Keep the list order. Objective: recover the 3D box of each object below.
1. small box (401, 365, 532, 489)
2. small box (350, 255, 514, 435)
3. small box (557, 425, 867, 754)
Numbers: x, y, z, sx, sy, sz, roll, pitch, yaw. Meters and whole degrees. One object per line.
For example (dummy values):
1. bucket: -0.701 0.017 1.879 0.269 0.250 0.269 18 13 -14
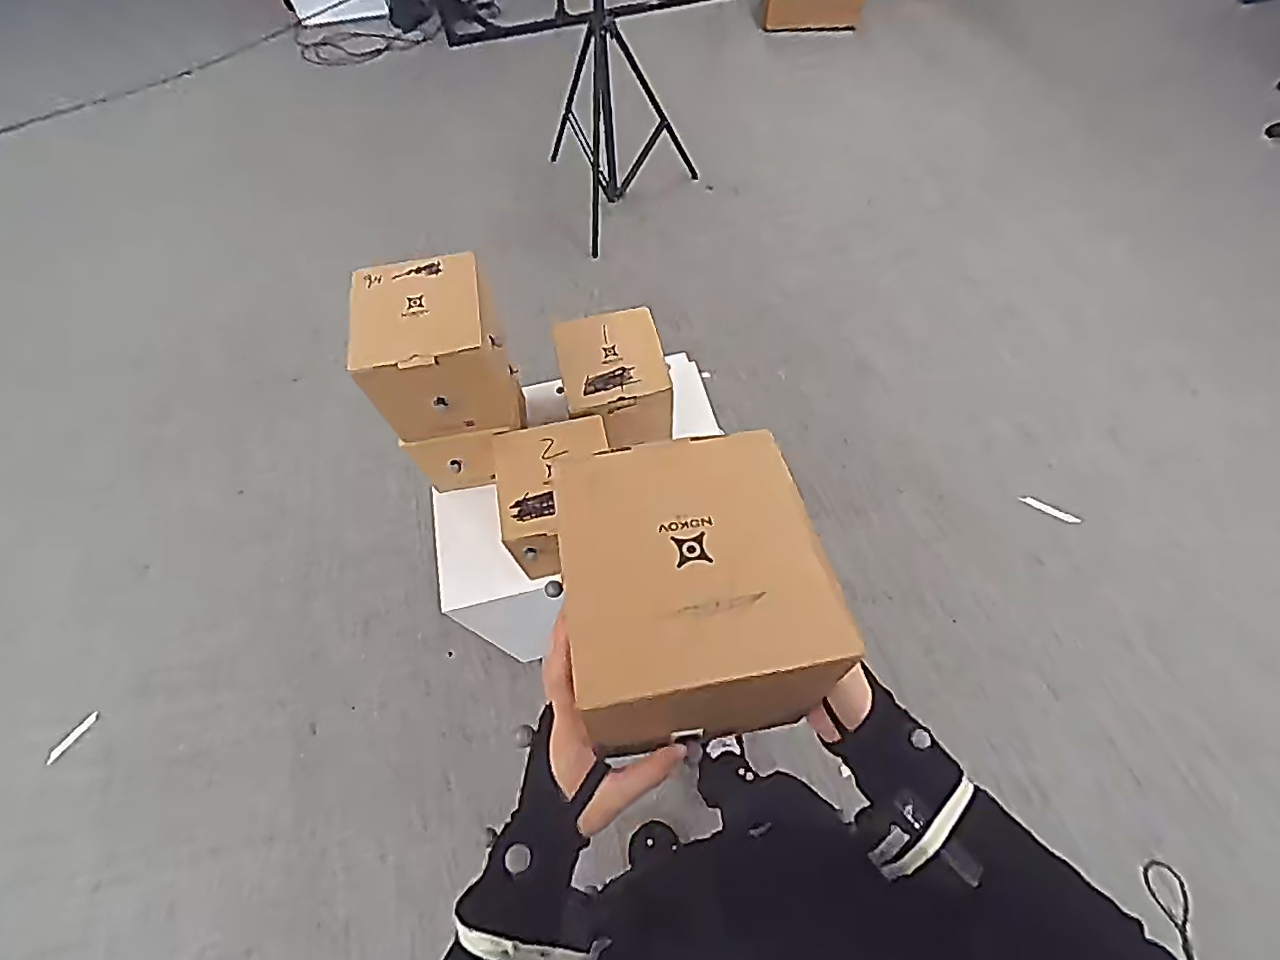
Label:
1. small box: -0.282 -0.097 0.903 0.168 0.176 0.179 -10 64 -3
2. small box: -0.281 -0.178 0.760 0.168 0.176 0.179 -11 64 -4
3. small box: 0.034 0.086 0.410 0.168 0.176 0.179 -9 55 -6
